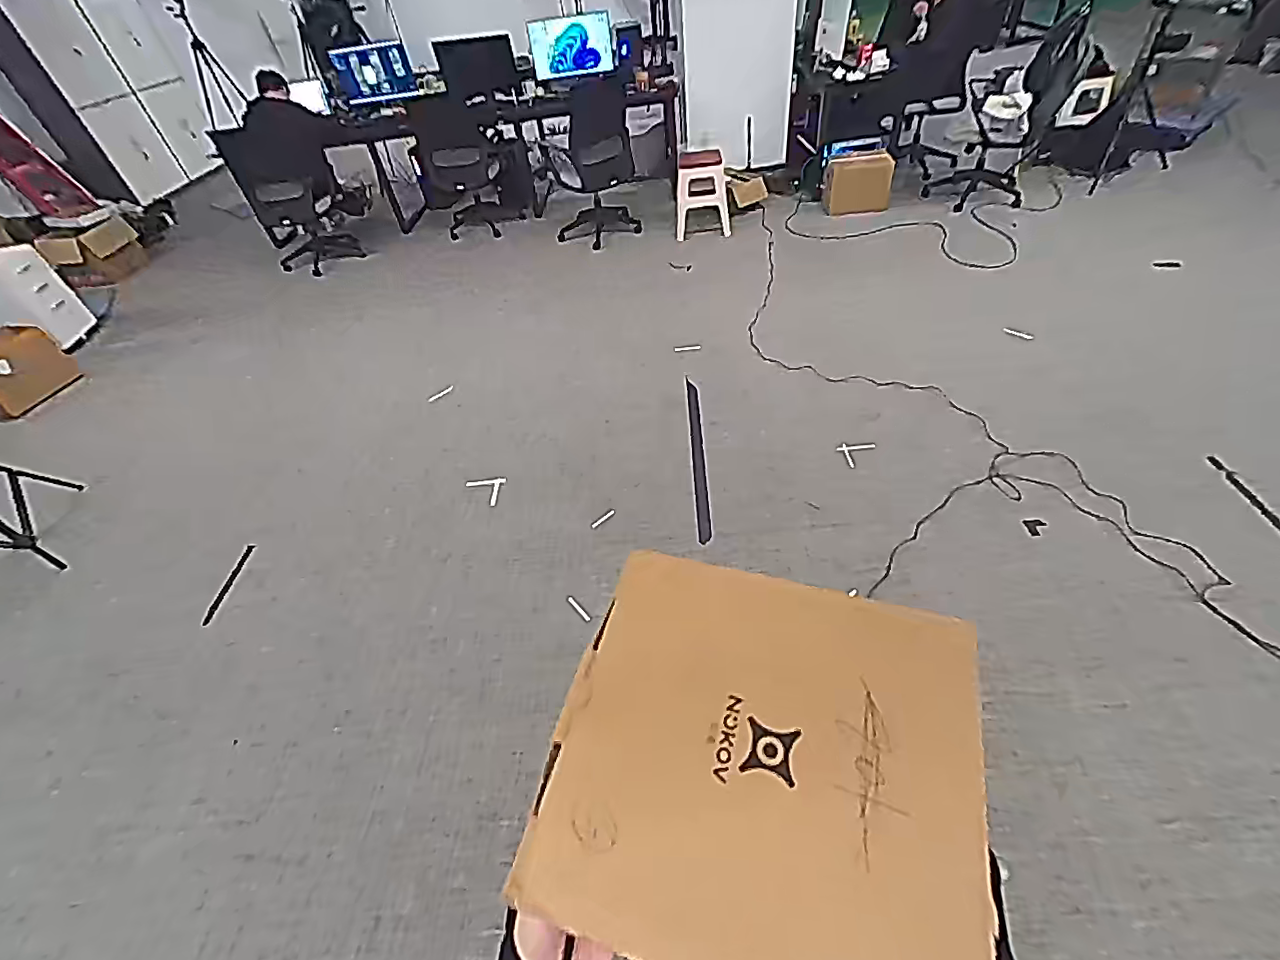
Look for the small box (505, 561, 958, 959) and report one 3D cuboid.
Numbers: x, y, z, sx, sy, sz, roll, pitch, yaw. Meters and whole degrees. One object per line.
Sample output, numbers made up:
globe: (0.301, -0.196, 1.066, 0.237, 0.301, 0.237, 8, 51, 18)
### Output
small box: (0.056, 0.172, 0.309, 0.179, 0.176, 0.168, 10, 54, 14)
